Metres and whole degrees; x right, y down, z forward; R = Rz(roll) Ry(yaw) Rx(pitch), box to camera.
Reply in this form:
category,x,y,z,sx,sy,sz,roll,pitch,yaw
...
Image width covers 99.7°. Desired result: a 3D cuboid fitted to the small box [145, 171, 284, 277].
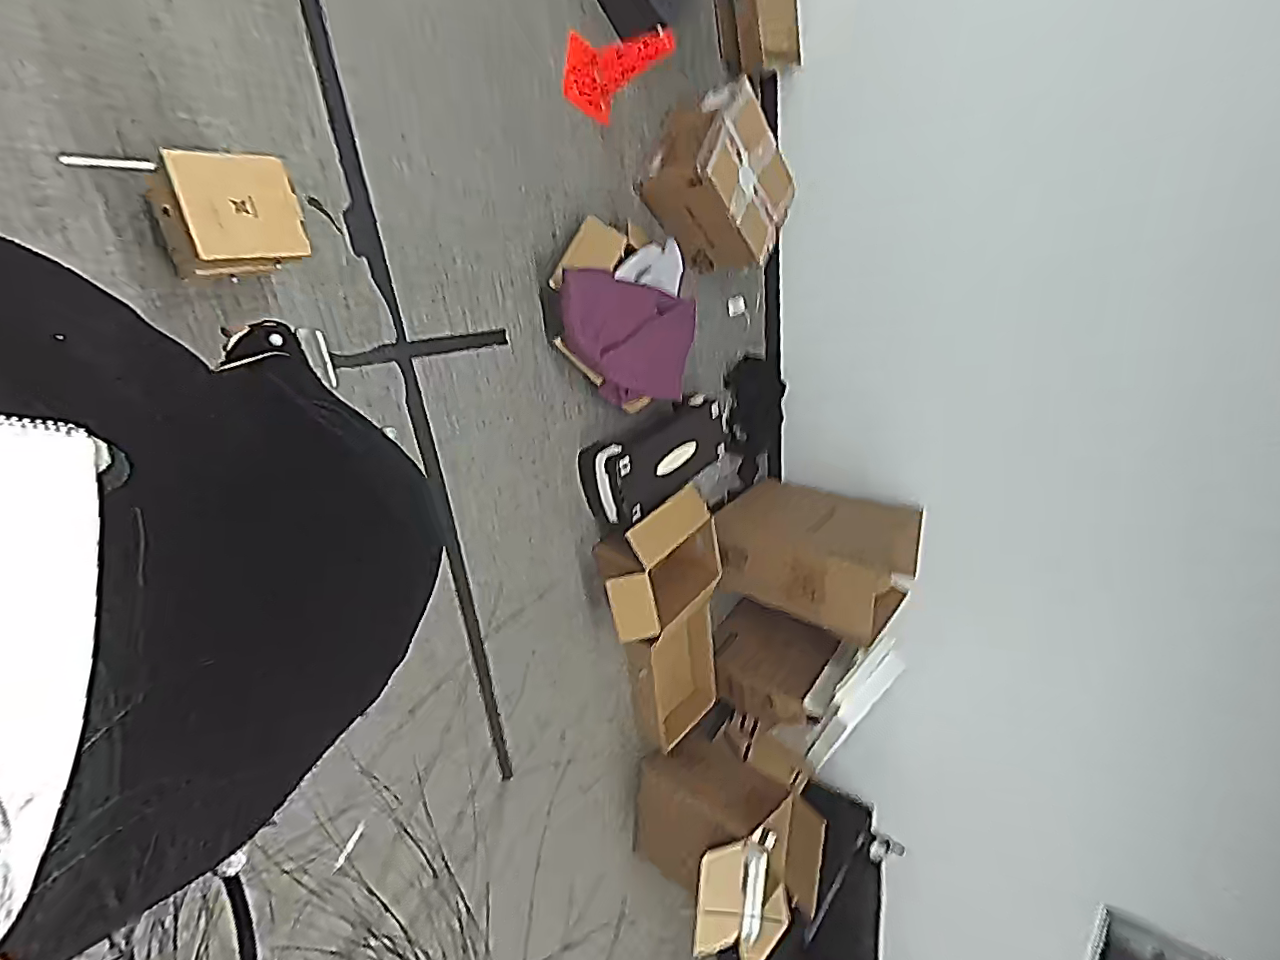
category,x,y,z,sx,sy,sz,roll,pitch,yaw
small box,-0.866,-0.513,1.103,0.168,0.176,0.179,-27,118,-41

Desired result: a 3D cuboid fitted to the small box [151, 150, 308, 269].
category,x,y,z,sx,sy,sz,roll,pitch,yaw
small box,-0.750,-0.486,0.991,0.179,0.176,0.168,-25,116,-40
